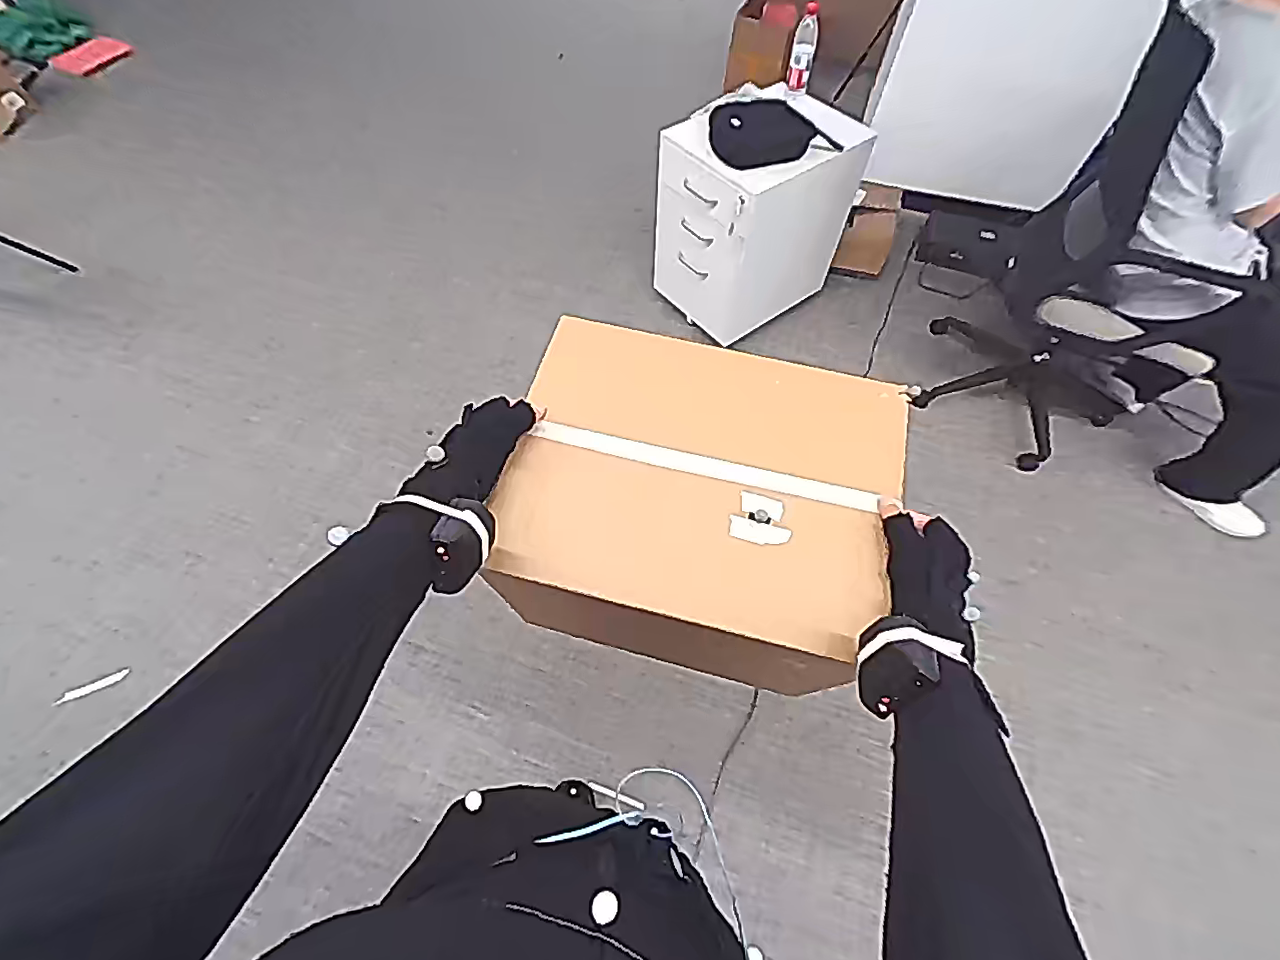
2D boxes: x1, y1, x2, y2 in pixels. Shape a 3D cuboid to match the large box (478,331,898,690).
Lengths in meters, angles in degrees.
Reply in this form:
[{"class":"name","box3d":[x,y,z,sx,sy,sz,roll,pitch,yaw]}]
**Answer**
[{"class":"large box","box3d":[0.064,0.057,0.707,0.408,0.320,0.320,14,66,6]}]
